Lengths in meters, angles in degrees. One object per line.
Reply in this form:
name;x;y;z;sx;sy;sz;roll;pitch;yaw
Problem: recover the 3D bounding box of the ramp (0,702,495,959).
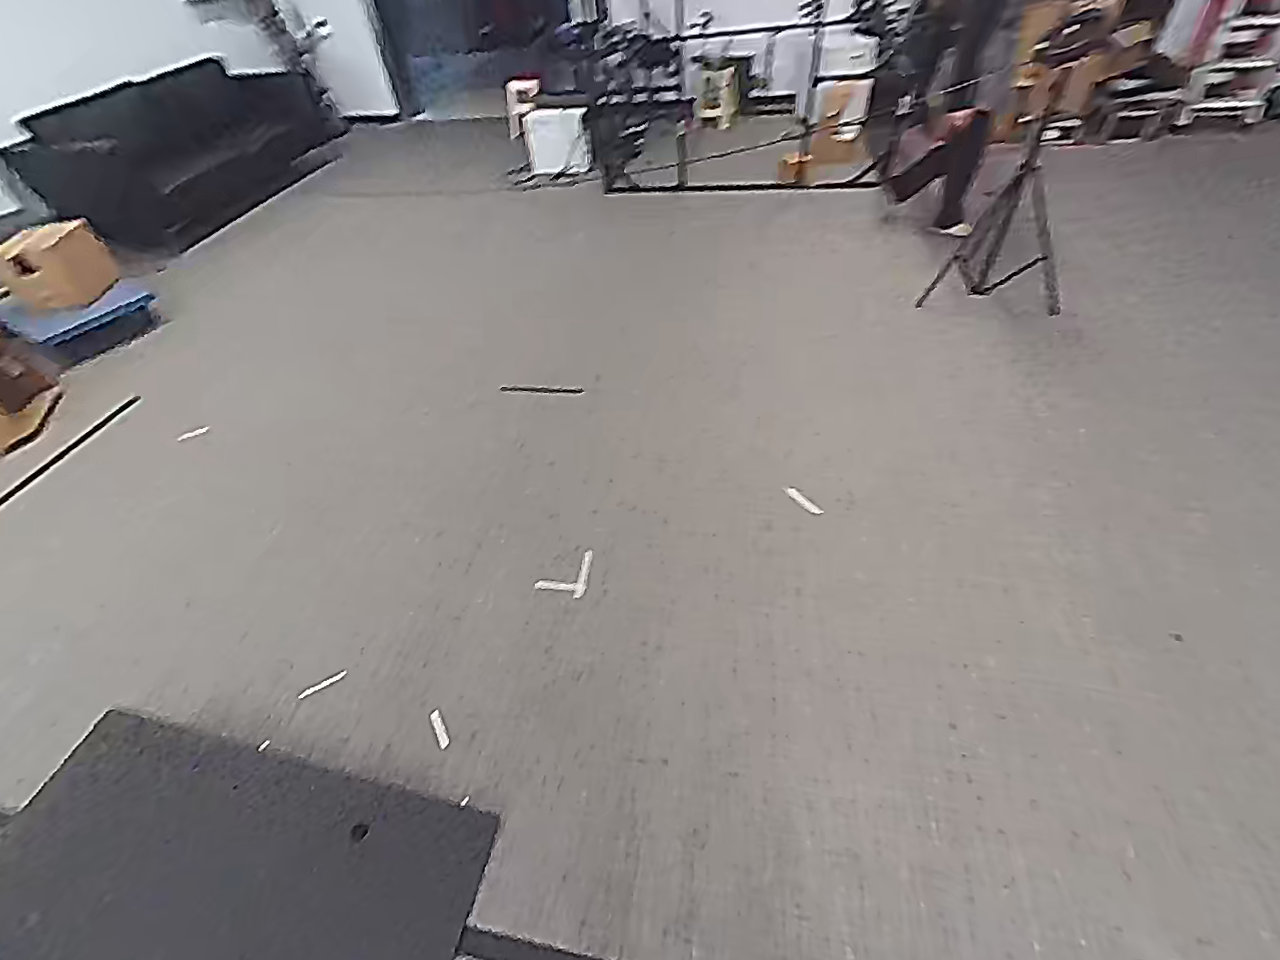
ramp;-0.869;0.839;1.151;0.991;0.206;0.509;6;46;10
